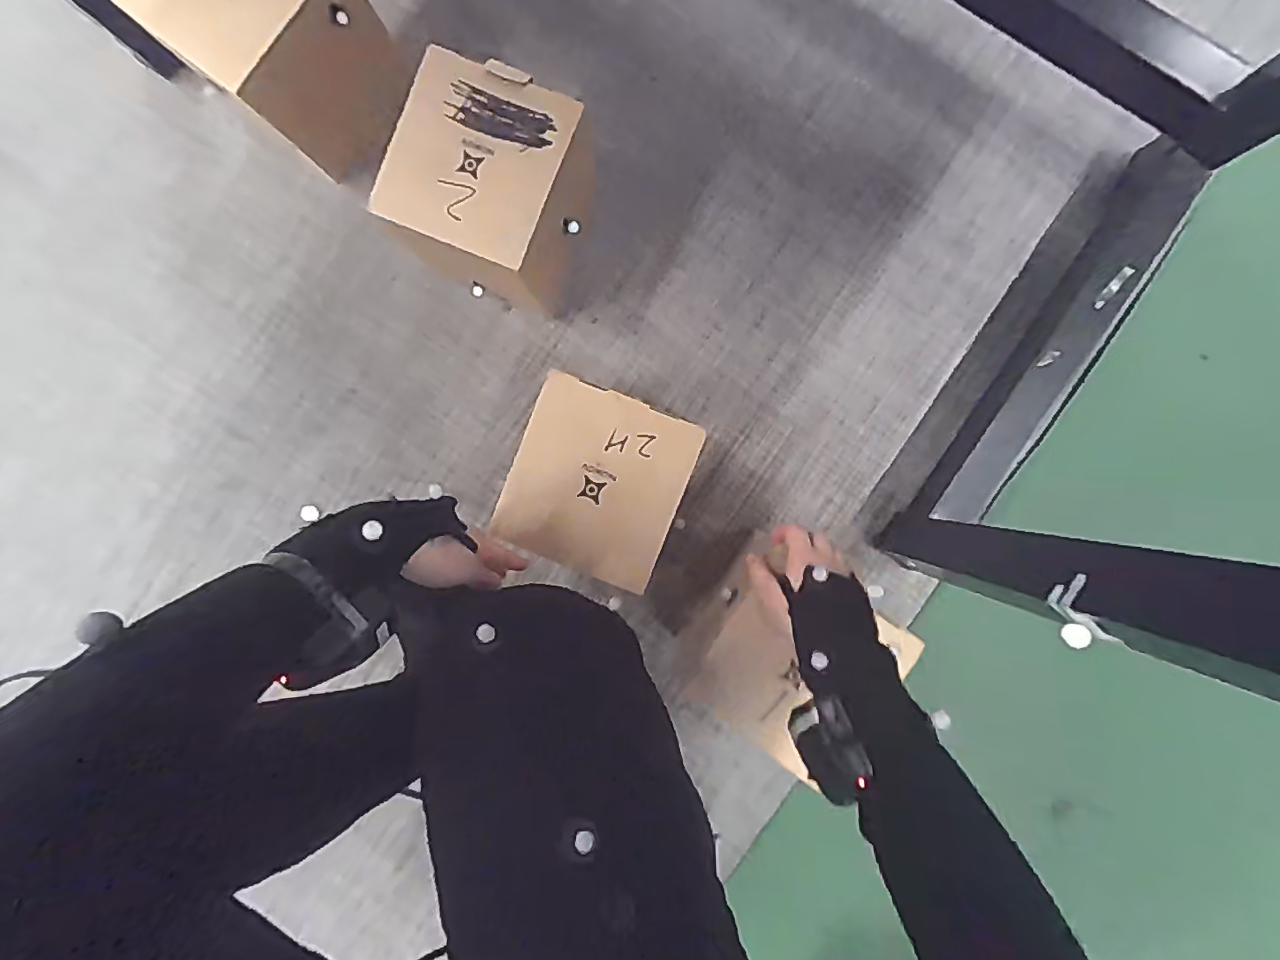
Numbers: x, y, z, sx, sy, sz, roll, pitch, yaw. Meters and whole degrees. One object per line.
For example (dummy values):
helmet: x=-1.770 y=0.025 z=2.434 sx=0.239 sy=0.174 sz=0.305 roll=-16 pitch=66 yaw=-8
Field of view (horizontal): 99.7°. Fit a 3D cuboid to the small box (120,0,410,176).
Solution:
small box: x=-0.400 y=-0.495 z=0.612 sx=0.168 sy=0.176 sz=0.179 roll=38 pitch=91 yaw=2
